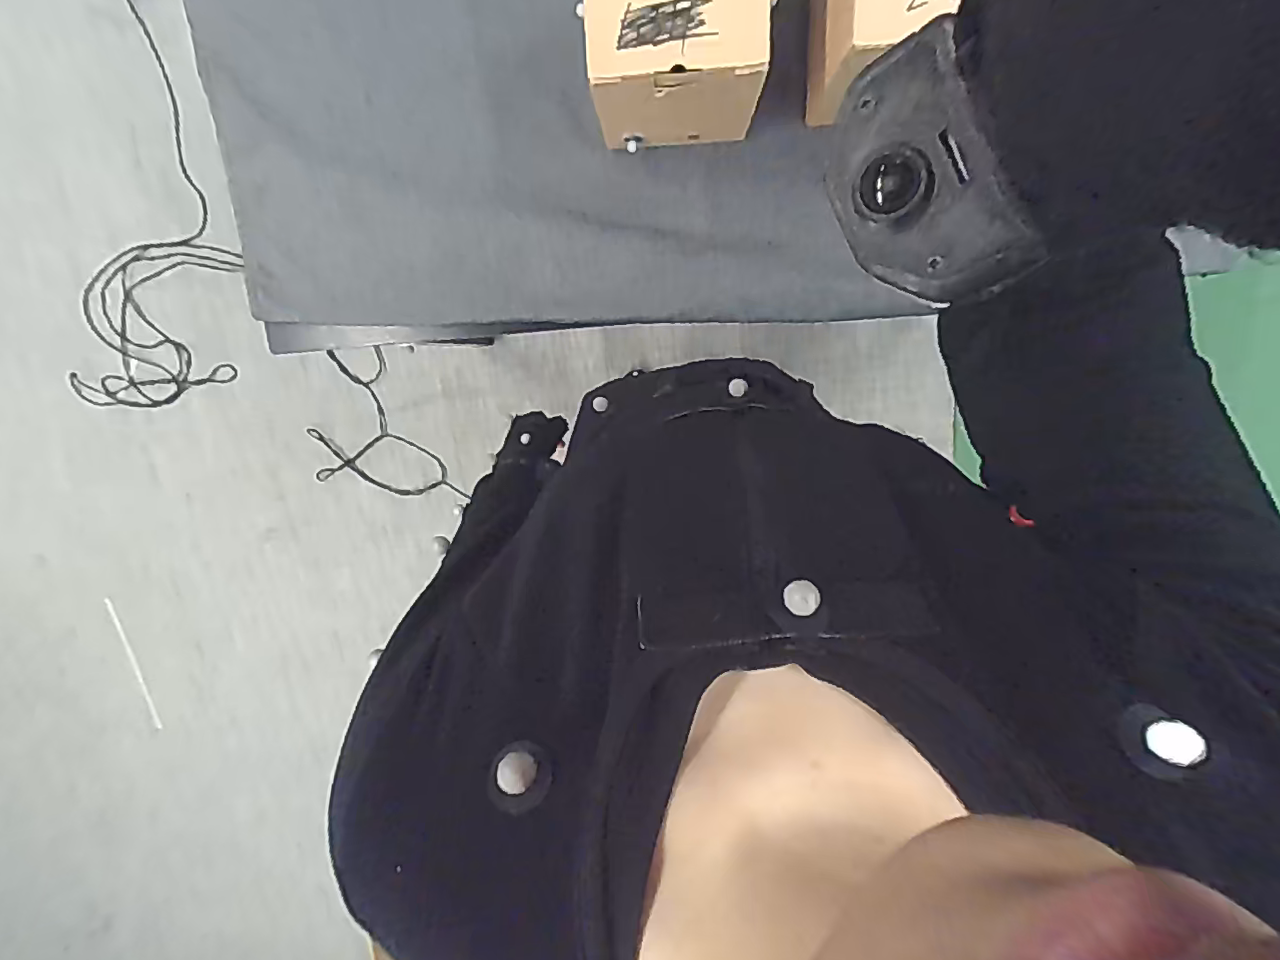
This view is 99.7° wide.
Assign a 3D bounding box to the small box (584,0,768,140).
[{"bbox_3d":[0.036,-0.468,0.548,0.168,0.176,0.179,-2,102,4],"label":"small box"}]

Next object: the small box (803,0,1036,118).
[{"bbox_3d":[0.266,-0.489,0.532,0.168,0.176,0.179,3,106,4],"label":"small box"}]
